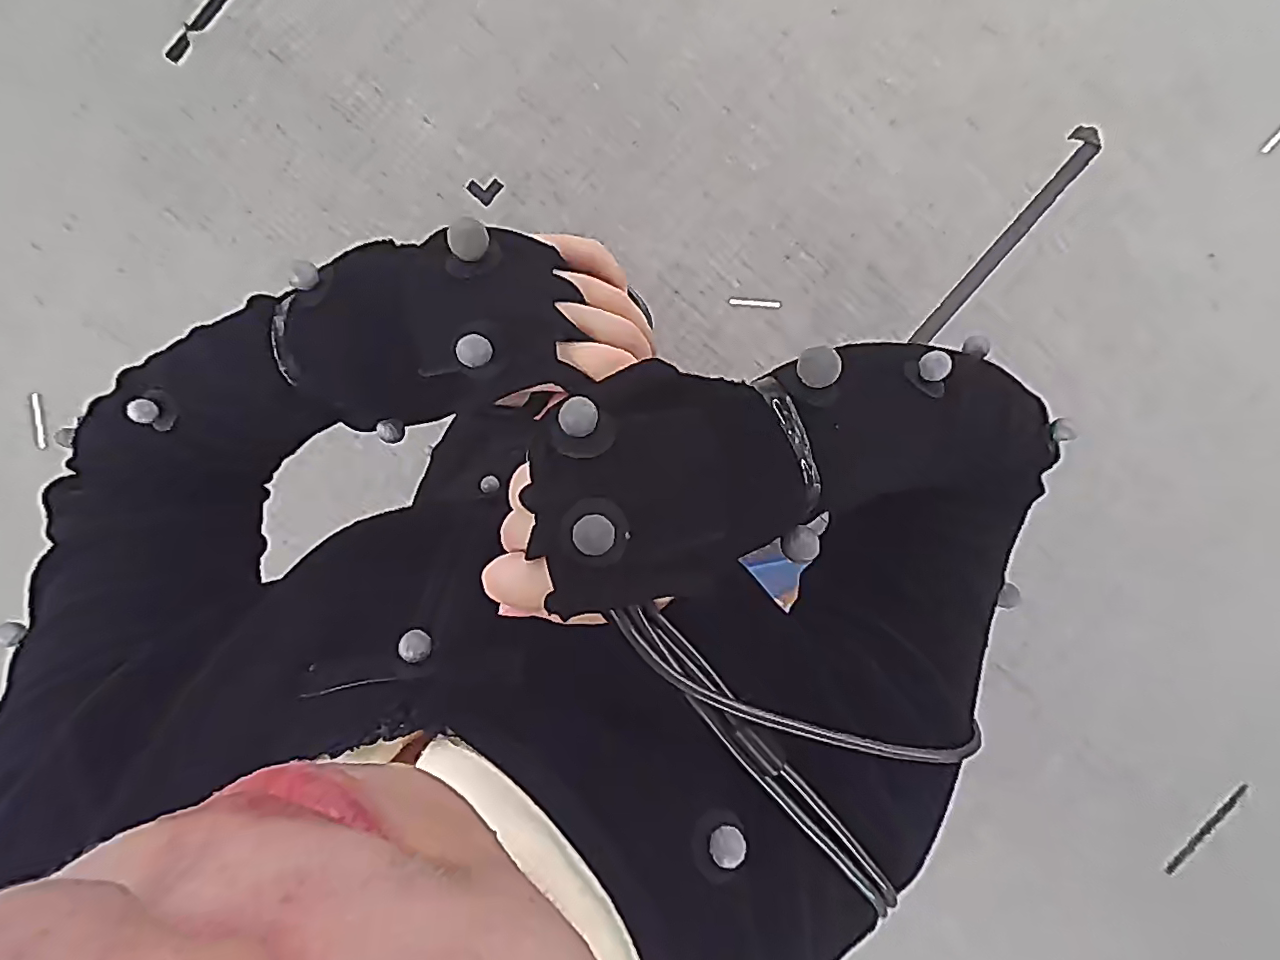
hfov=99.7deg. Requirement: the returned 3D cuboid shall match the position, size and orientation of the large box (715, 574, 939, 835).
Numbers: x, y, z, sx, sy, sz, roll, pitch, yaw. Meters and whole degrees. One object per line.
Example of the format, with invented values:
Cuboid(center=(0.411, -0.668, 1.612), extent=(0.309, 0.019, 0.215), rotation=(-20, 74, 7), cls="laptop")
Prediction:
Cuboid(center=(0.410, 0.492, 1.256), extent=(0.320, 0.320, 0.408), rotation=(-22, 99, -1), cls="large box")
